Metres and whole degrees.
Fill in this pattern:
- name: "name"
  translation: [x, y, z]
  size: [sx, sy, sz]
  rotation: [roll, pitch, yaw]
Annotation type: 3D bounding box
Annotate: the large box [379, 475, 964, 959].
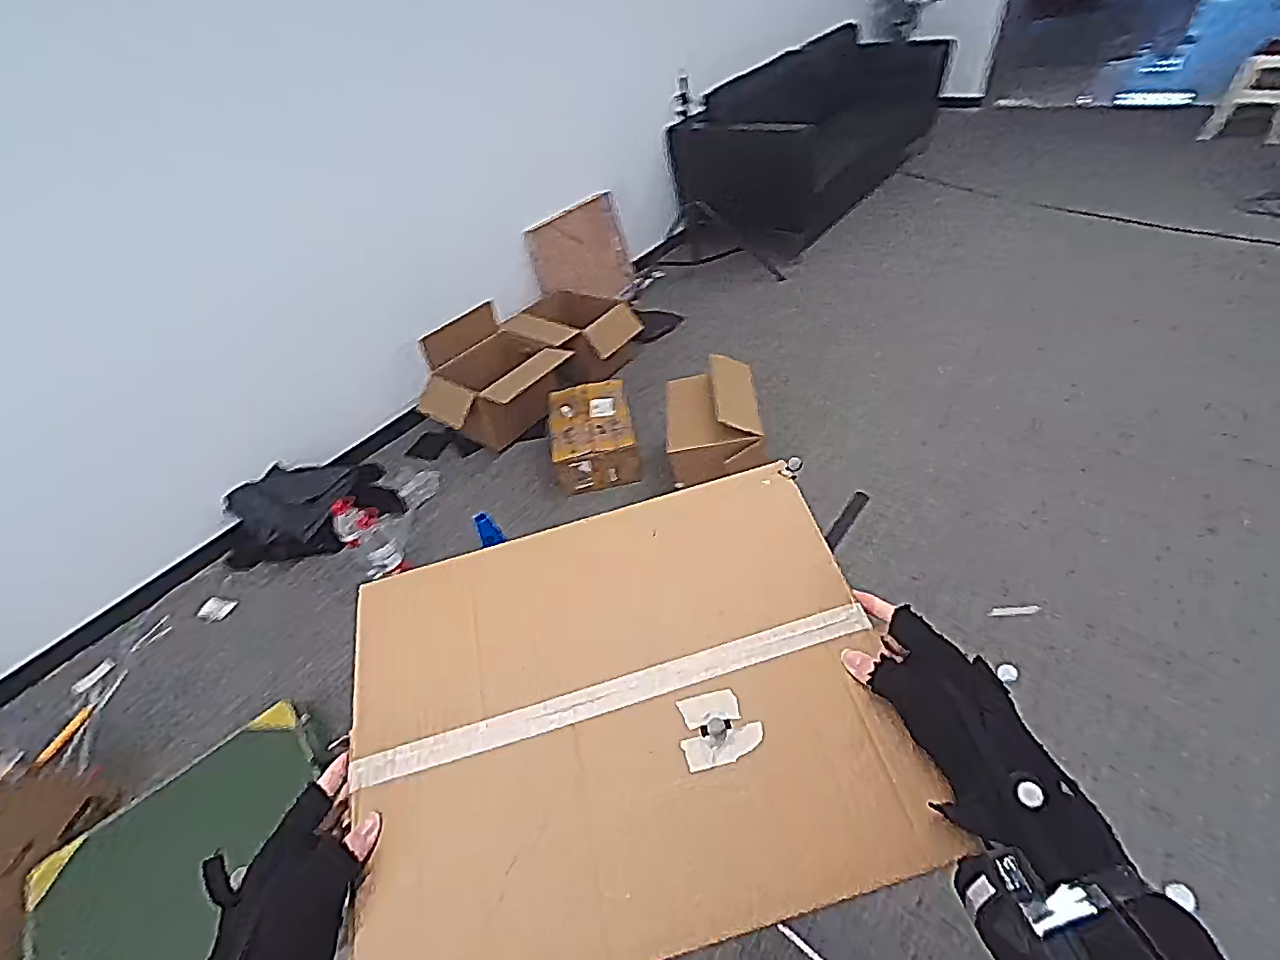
- name: "large box"
  translation: [0.007, 0.252, 0.551]
  size: [0.408, 0.320, 0.320]
  rotation: [-16, 57, -2]
